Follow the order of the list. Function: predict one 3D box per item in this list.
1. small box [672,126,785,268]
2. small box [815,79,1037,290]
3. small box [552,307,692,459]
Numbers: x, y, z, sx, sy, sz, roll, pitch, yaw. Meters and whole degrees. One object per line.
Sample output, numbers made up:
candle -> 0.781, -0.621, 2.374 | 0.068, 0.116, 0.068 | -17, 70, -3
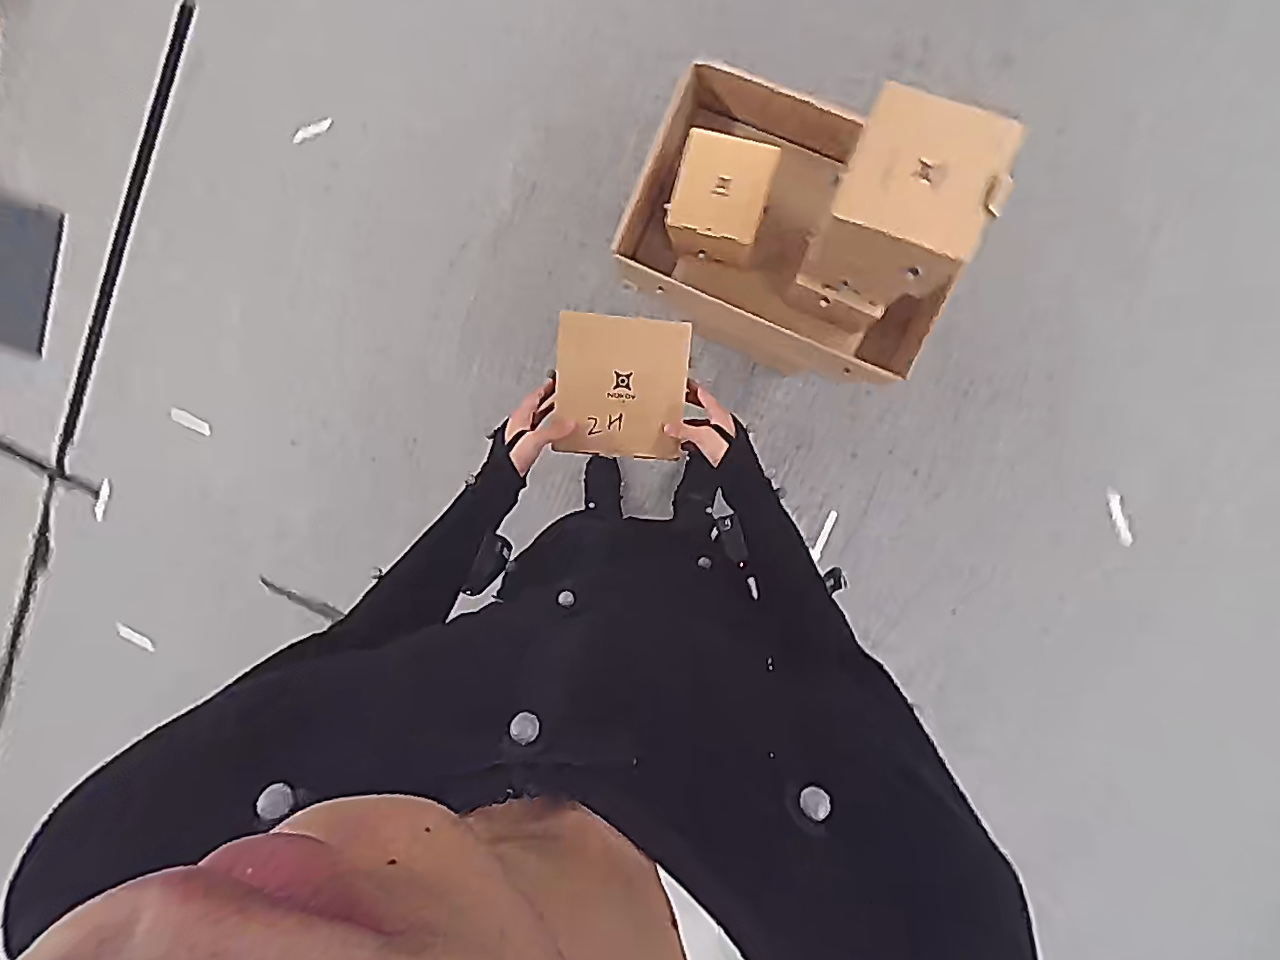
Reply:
small box -> 0.168, -0.541, 1.057 | 0.168, 0.176, 0.179 | 17, 97, 6
small box -> 0.357, -0.370, 0.714 | 0.179, 0.176, 0.168 | 22, 97, 5
small box -> -0.030, -0.129, 0.750 | 0.168, 0.176, 0.179 | 4, 98, -6
